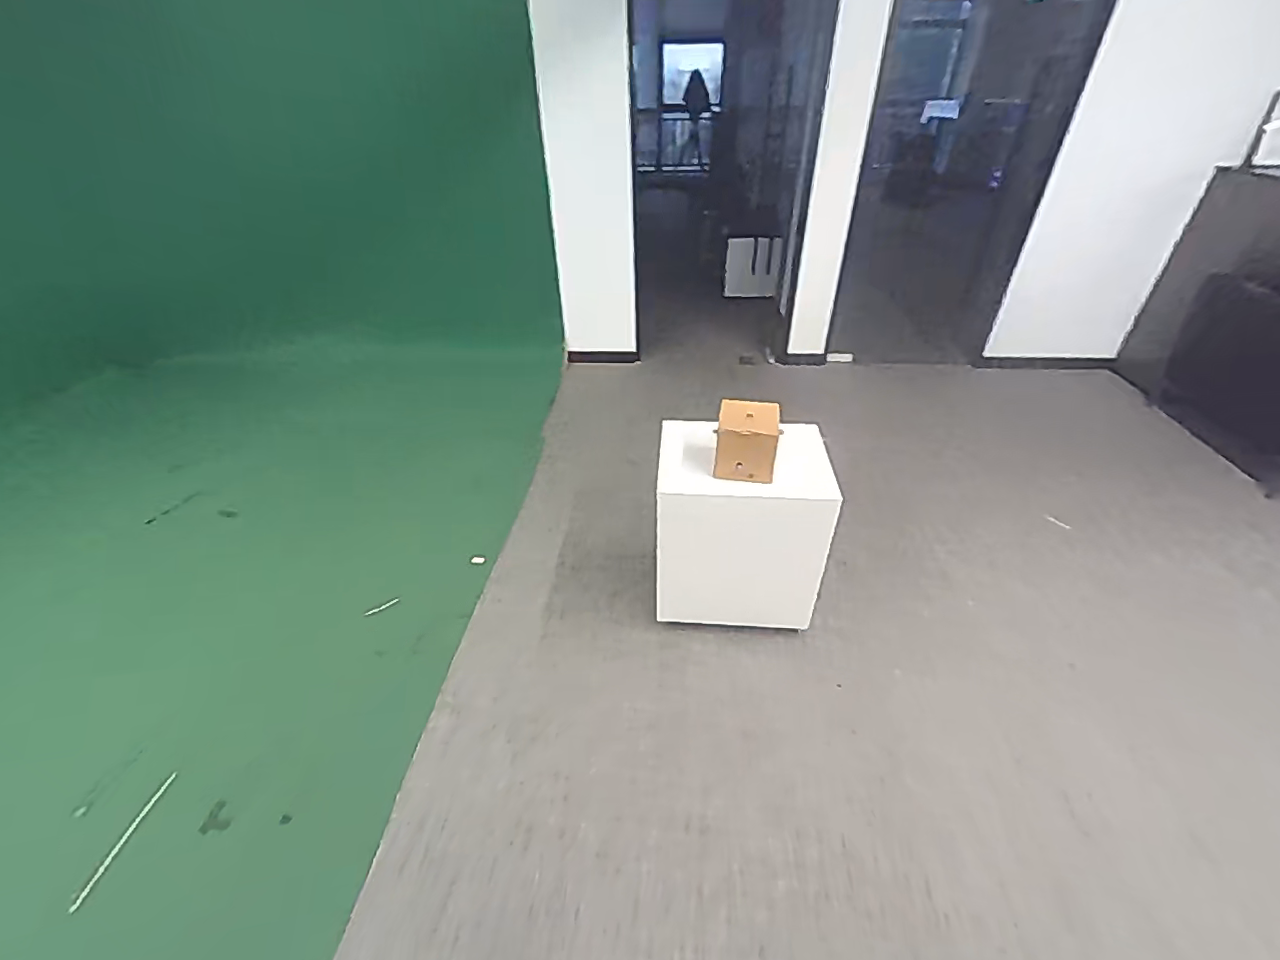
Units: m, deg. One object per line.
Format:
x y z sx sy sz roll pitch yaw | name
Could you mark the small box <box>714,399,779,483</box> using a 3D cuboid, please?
0.303 -0.114 1.552 0.168 0.176 0.179 5 37 9 | small box
